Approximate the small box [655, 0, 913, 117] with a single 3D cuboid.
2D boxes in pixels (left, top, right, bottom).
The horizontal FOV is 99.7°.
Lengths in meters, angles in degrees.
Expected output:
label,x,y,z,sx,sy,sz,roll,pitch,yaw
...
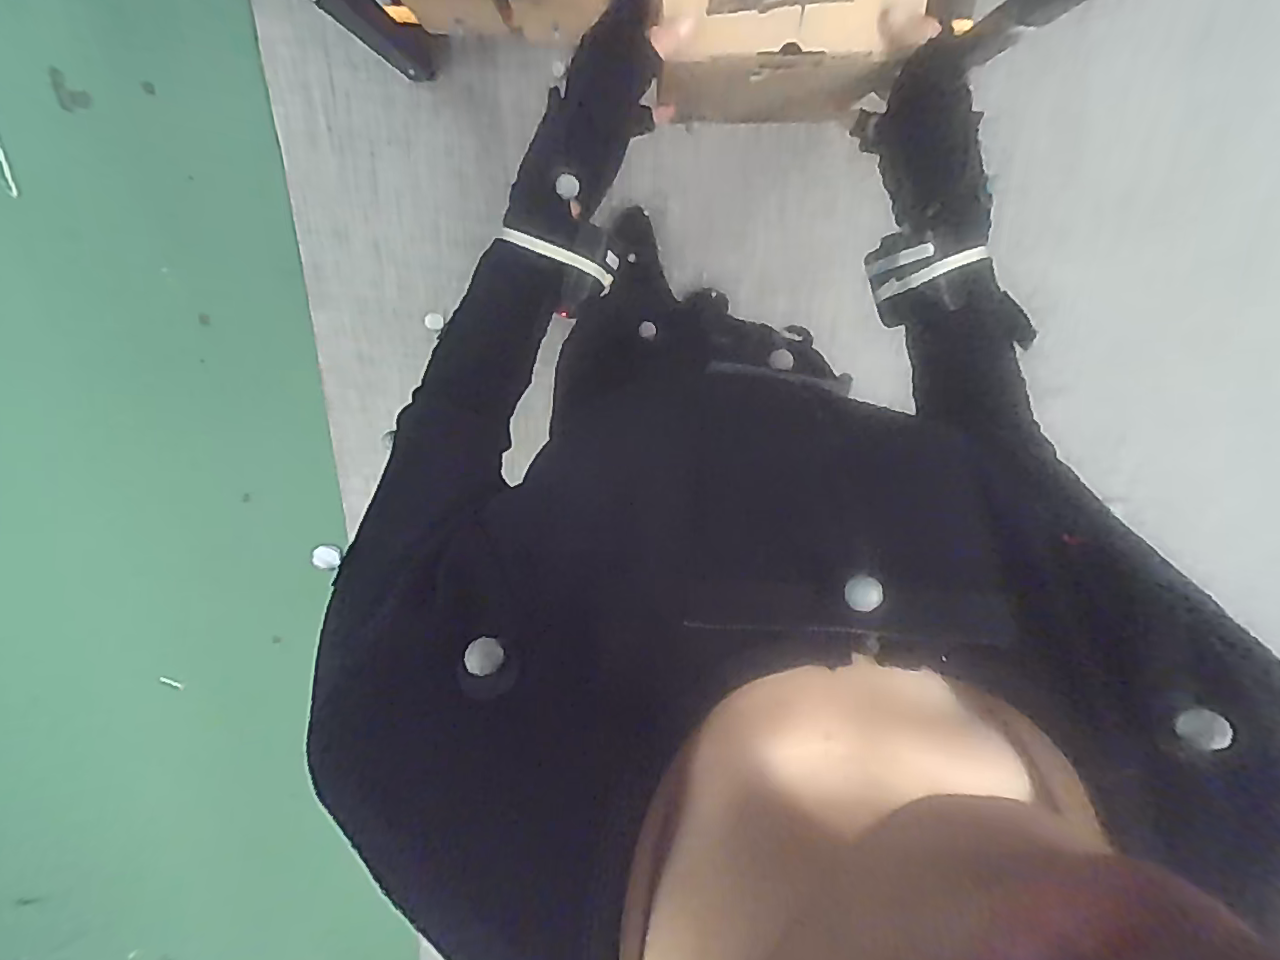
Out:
label,x,y,z,sx,sy,sz,roll,pitch,yaw
small box,0.096,-0.391,0.404,0.168,0.176,0.179,0,110,1
